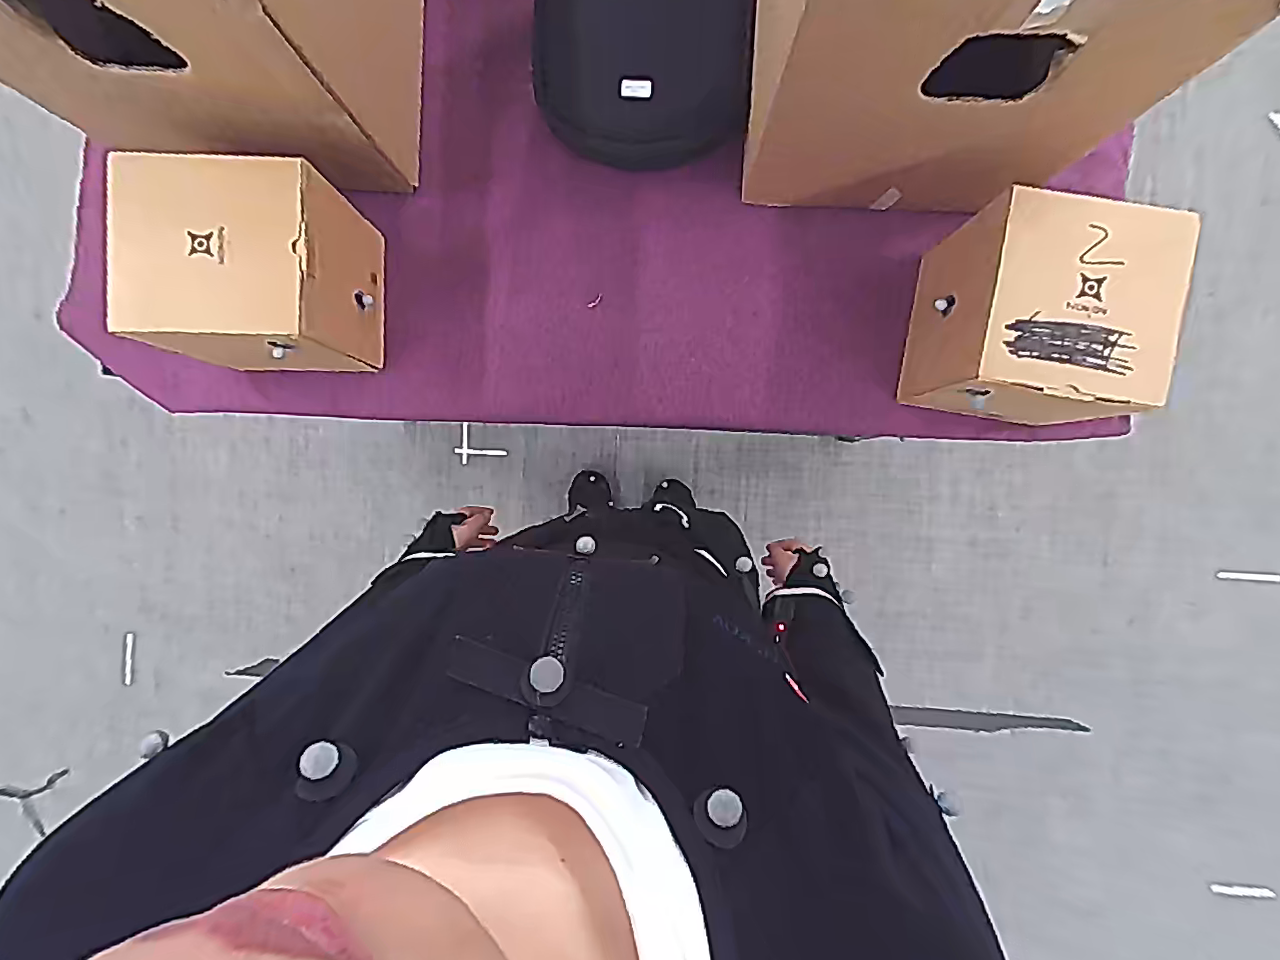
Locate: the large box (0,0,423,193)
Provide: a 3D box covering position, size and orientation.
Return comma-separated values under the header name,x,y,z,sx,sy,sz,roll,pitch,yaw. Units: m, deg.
name,x,y,z,sx,sy,sz,roll,pitch,yaw
large box,-0.411,-0.548,0.506,0.320,0.320,0.408,2,94,0
